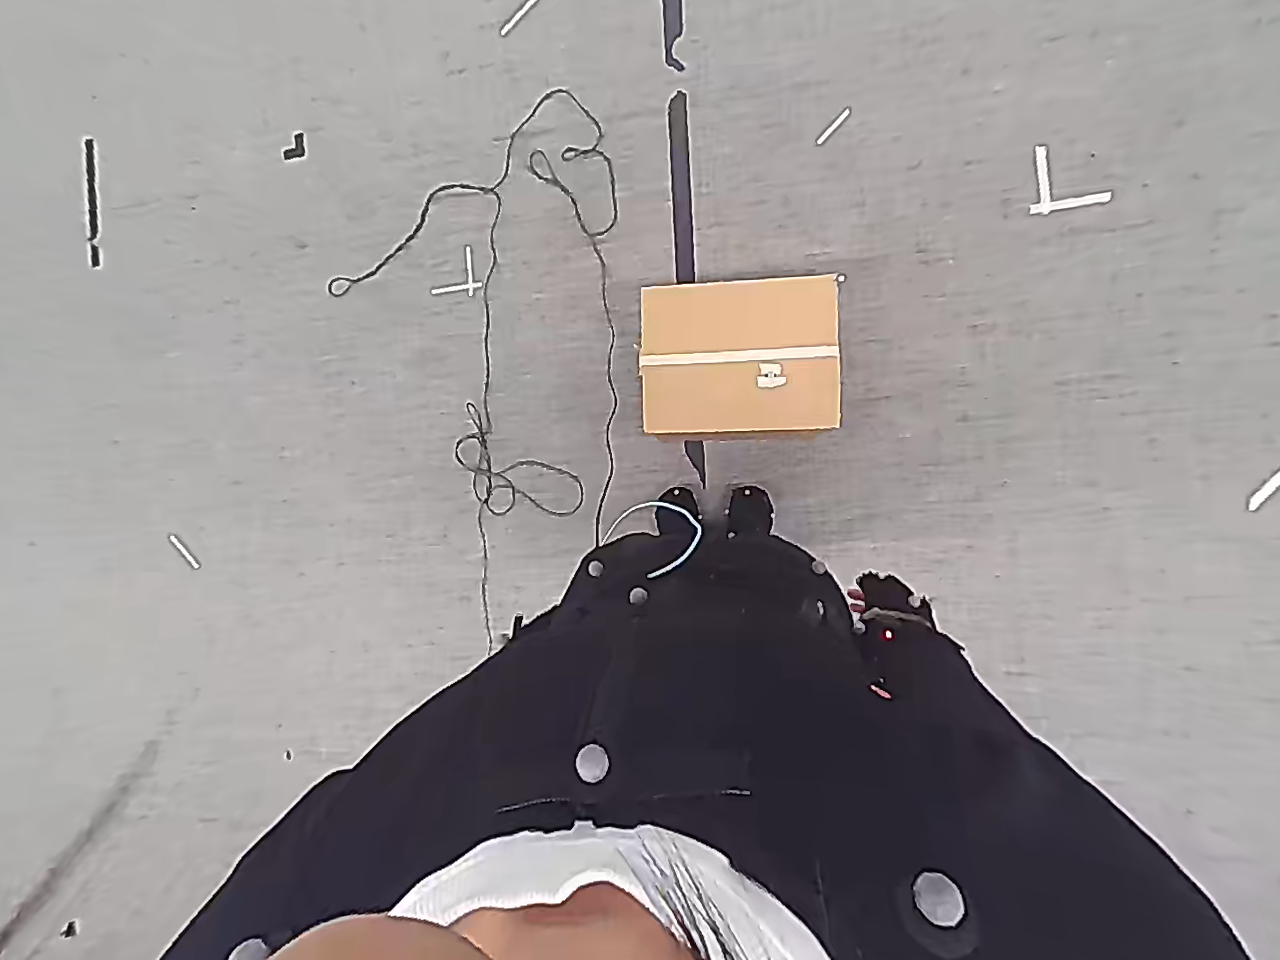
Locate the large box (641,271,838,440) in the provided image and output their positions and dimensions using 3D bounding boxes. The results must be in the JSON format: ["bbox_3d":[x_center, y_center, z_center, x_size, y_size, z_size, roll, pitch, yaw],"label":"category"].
[{"bbox_3d":[0.222,-0.267,1.274,0.408,0.320,0.320,-1,91,8],"label":"large box"}]
